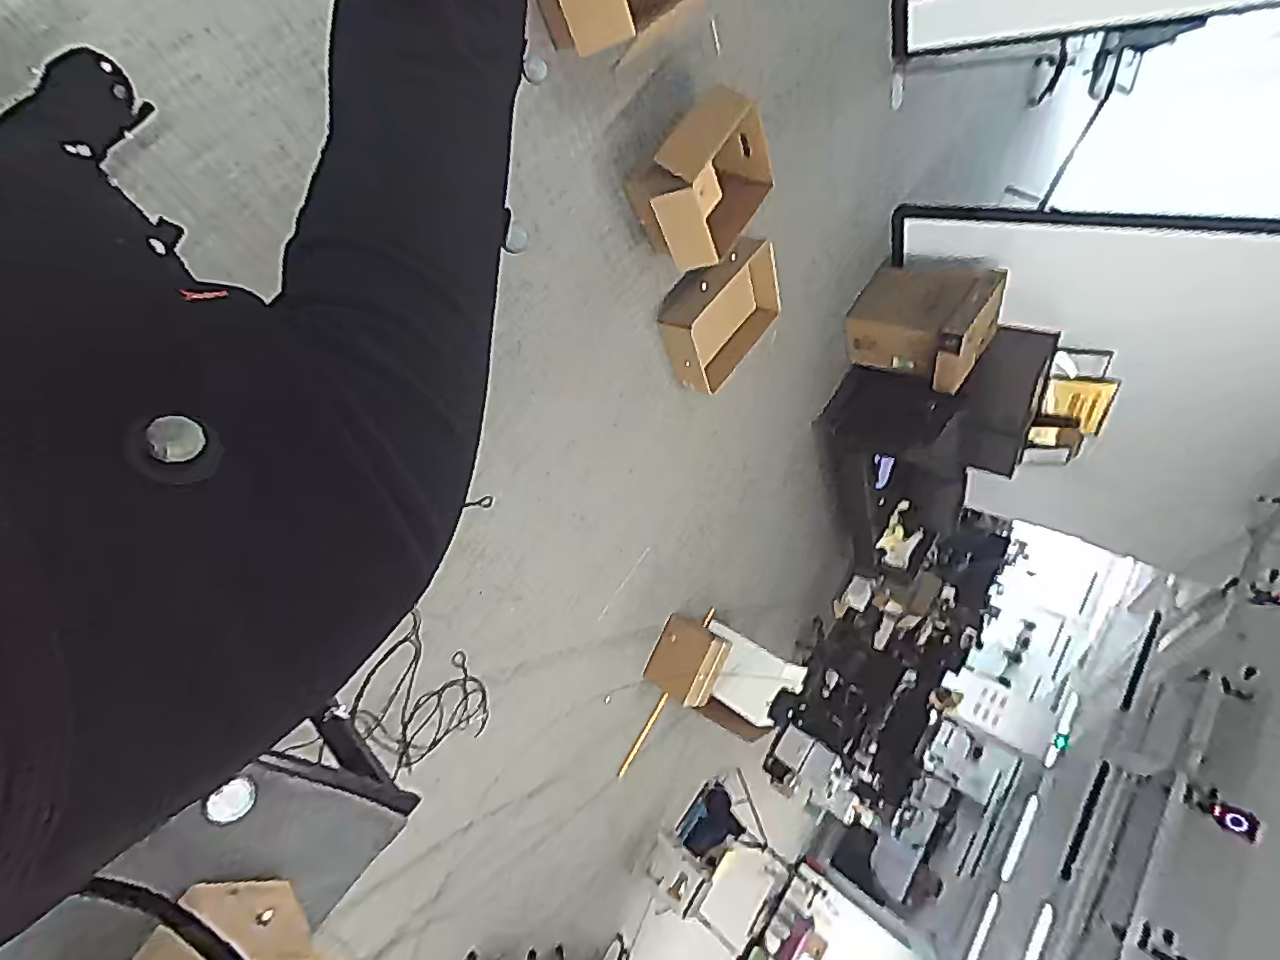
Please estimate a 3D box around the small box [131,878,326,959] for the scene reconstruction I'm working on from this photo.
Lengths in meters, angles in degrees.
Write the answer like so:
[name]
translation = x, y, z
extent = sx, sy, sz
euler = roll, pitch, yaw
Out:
[small box]
translation = -0.620, 0.727, 0.797
extent = 0.179, 0.176, 0.168
euler = -54, 141, -15
